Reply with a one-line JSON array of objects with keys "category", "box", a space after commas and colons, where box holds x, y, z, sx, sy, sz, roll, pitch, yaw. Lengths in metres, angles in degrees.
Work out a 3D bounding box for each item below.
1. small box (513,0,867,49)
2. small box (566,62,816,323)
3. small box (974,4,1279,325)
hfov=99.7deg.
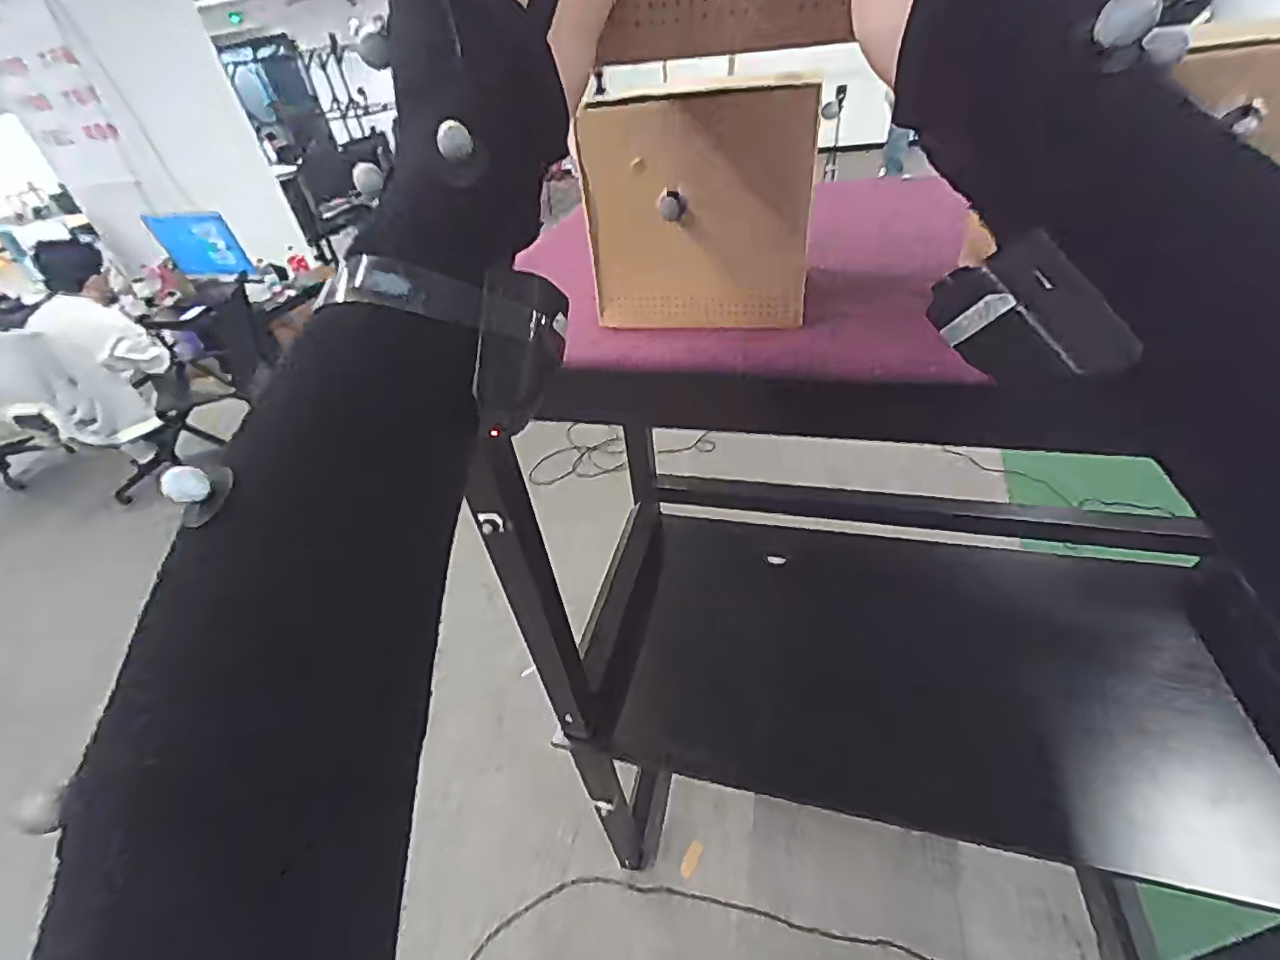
[{"category": "small box", "box": [0.018, -0.326, 0.239, 0.179, 0.176, 0.168, -1, 61, 6]}, {"category": "small box", "box": [0.058, -0.245, 0.471, 0.179, 0.176, 0.168, 3, 39, 15]}, {"category": "small box", "box": [0.361, -0.219, 0.385, 0.179, 0.176, 0.168, 4, 40, 15]}]
